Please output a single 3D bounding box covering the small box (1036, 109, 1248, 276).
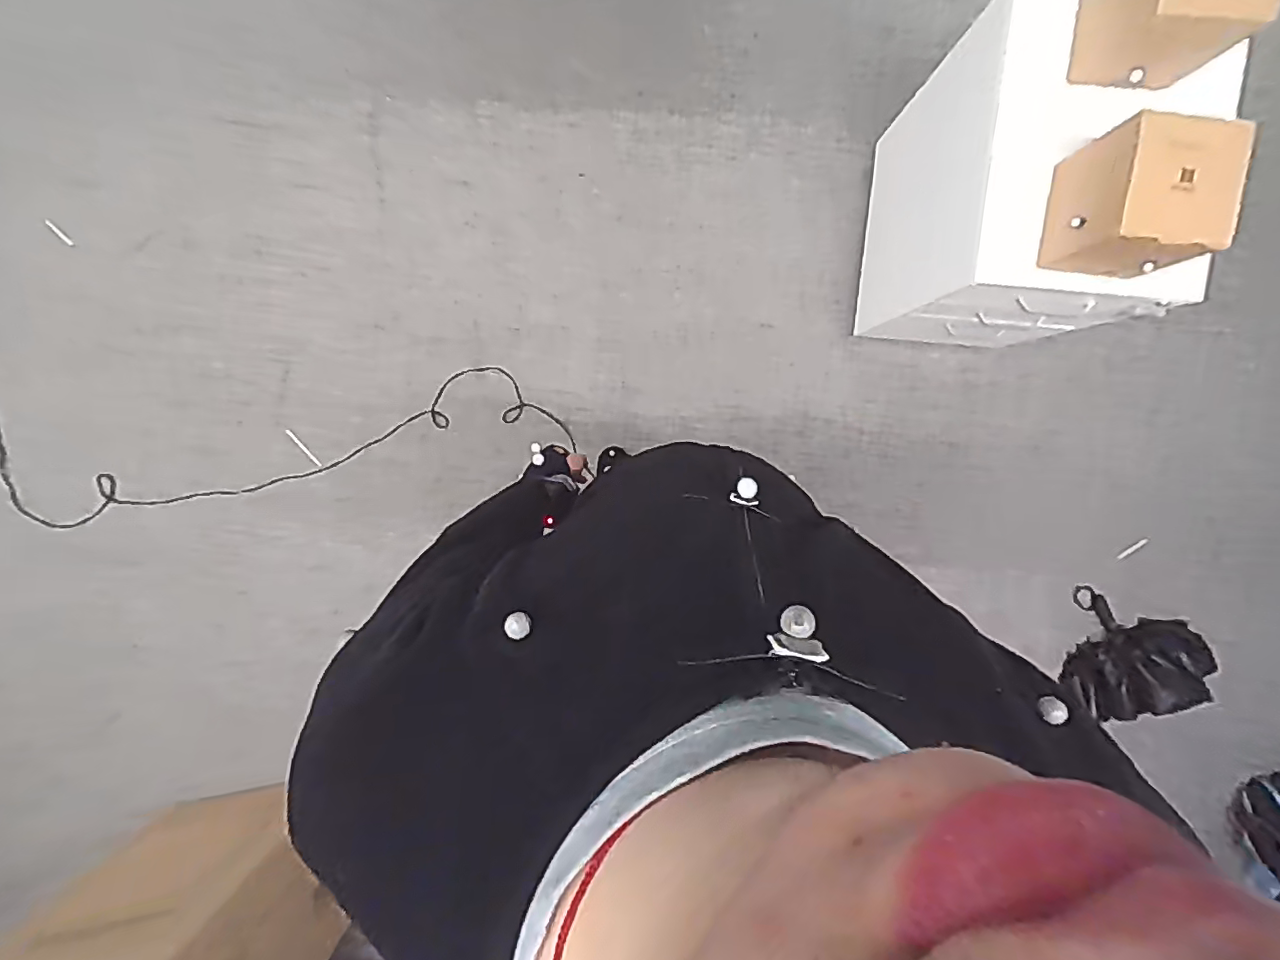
[{"bbox_3d":[0.767,-0.434,0.848,0.168,0.176,0.179,6,94,-2],"label":"small box"}]

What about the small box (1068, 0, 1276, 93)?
[{"bbox_3d":[0.795,-0.731,0.813,0.168,0.176,0.179,4,98,-1],"label":"small box"}]
